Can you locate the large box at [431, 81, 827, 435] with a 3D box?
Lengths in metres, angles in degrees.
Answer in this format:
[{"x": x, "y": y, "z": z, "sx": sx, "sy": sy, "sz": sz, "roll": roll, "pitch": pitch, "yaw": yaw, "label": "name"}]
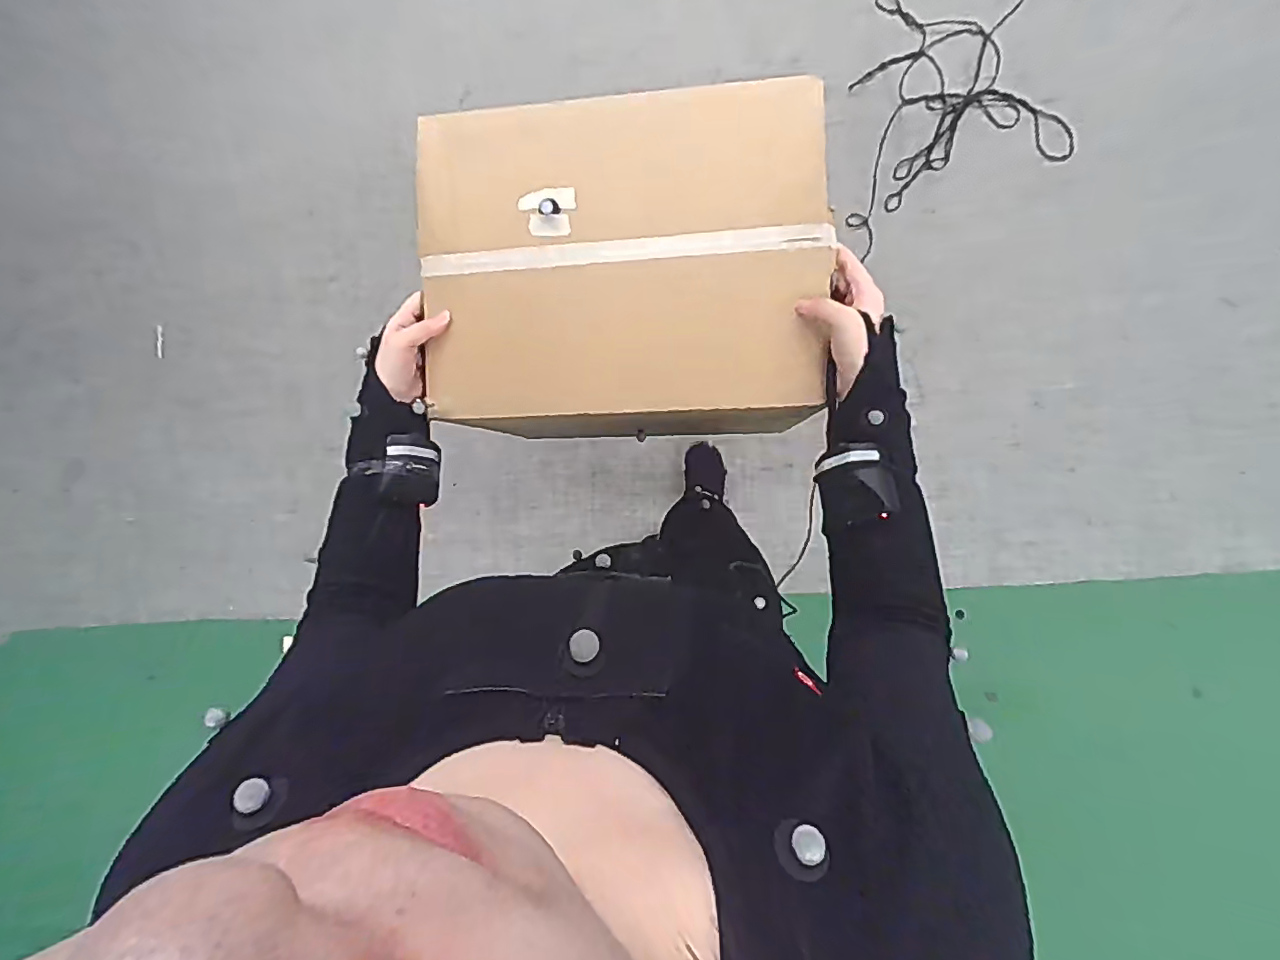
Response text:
[{"x": 0.001, "y": -0.227, "z": 0.695, "sx": 0.408, "sy": 0.320, "sz": 0.320, "roll": -2, "pitch": 90, "yaw": 8, "label": "large box"}]
